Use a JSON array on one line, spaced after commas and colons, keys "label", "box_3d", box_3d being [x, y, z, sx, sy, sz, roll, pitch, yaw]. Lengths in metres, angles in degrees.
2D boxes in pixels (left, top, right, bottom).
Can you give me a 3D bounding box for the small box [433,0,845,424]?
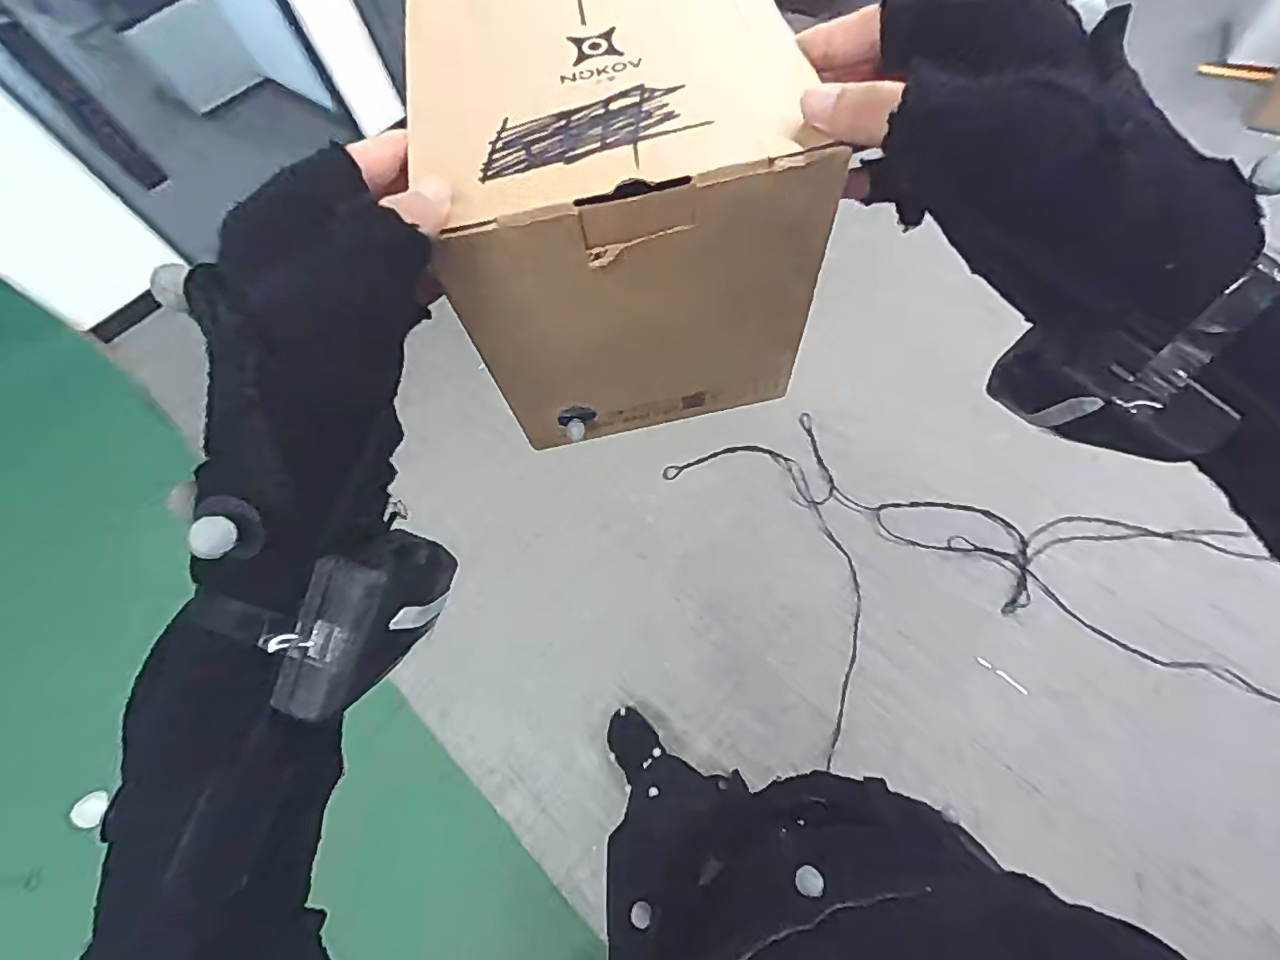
[{"label": "small box", "box_3d": [-0.005, -0.148, 0.315, 0.168, 0.176, 0.179, -12, 64, 0]}]
